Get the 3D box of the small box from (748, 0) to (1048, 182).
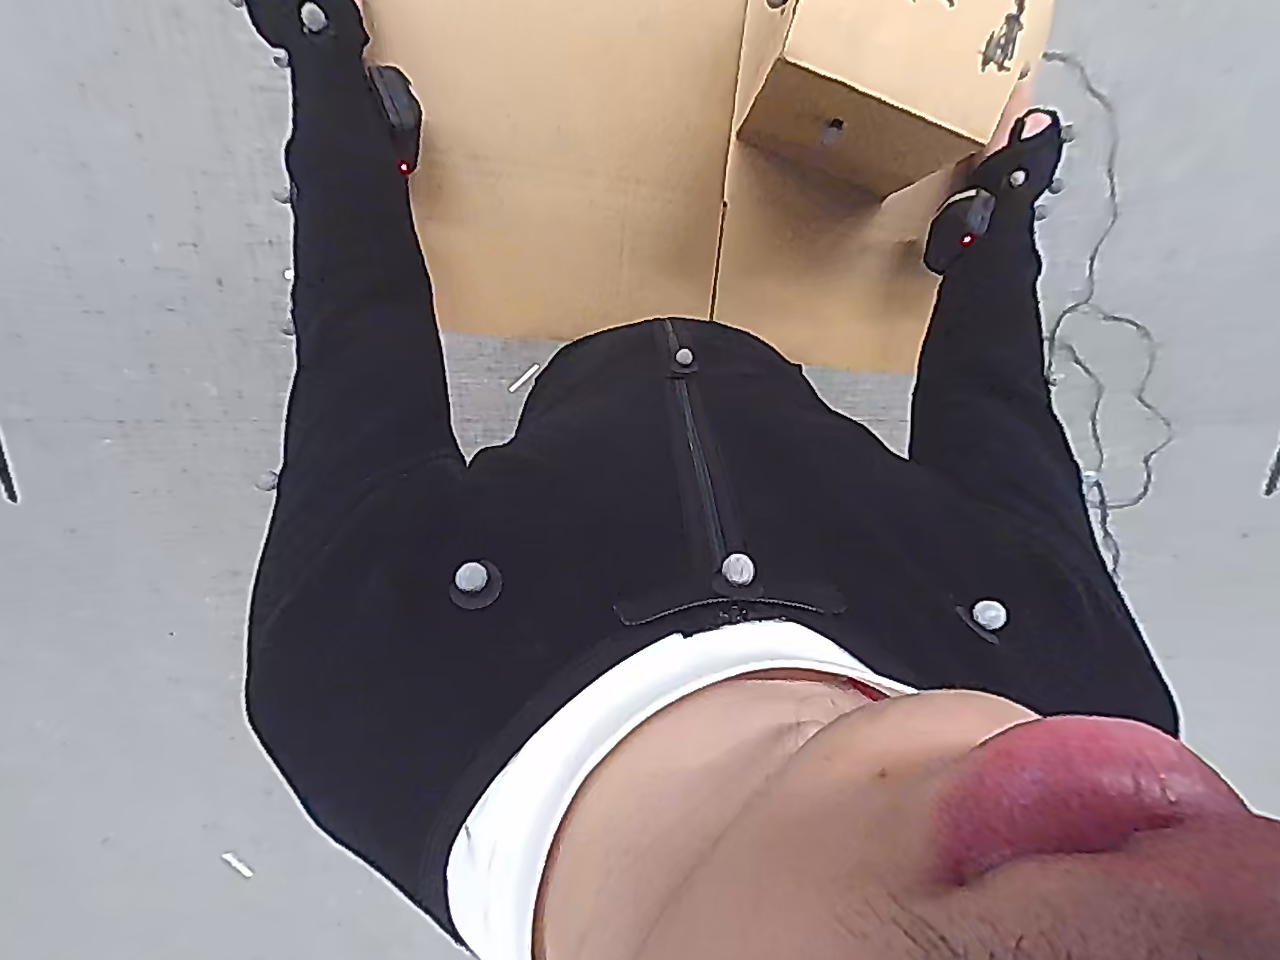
[{"bbox_3d":[0.209,-0.383,0.463,0.179,0.176,0.168,18,105,-5],"label":"small box"}]
